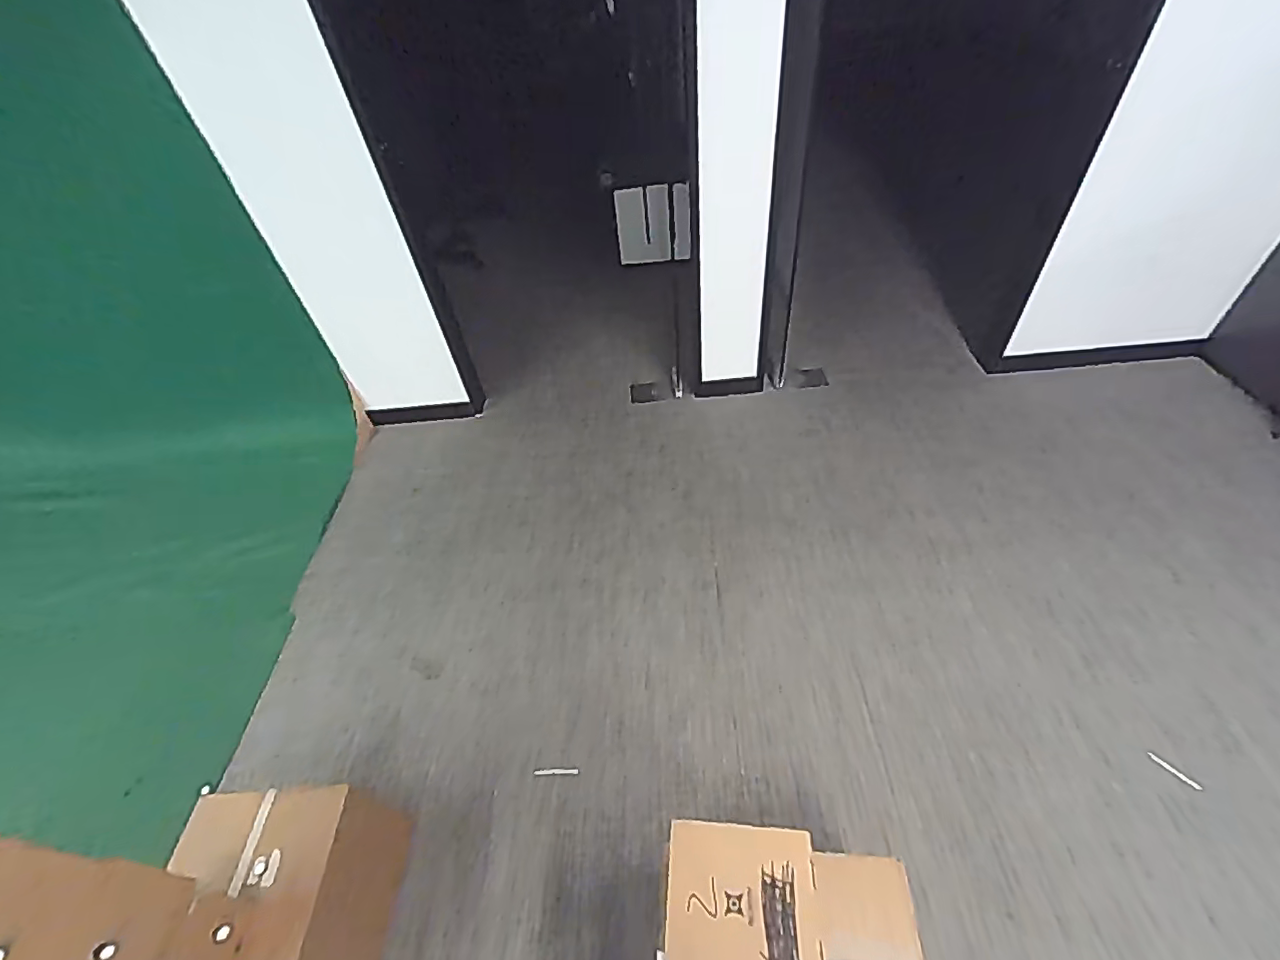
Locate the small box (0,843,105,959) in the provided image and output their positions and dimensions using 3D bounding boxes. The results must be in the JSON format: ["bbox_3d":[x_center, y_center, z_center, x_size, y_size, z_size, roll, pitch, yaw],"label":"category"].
[{"bbox_3d":[-0.771,0.522,0.597,0.168,0.176,0.179,-7,46,0],"label":"small box"}]

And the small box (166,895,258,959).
[{"bbox_3d":[-0.743,0.753,0.829,0.179,0.176,0.168,-7,45,2],"label":"small box"}]

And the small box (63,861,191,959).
[{"bbox_3d":[-0.758,0.635,0.716,0.168,0.176,0.179,-9,45,-1],"label":"small box"}]

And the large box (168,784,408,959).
[{"bbox_3d":[-0.705,0.869,1.052,0.320,0.320,0.408,-5,45,2],"label":"large box"}]
